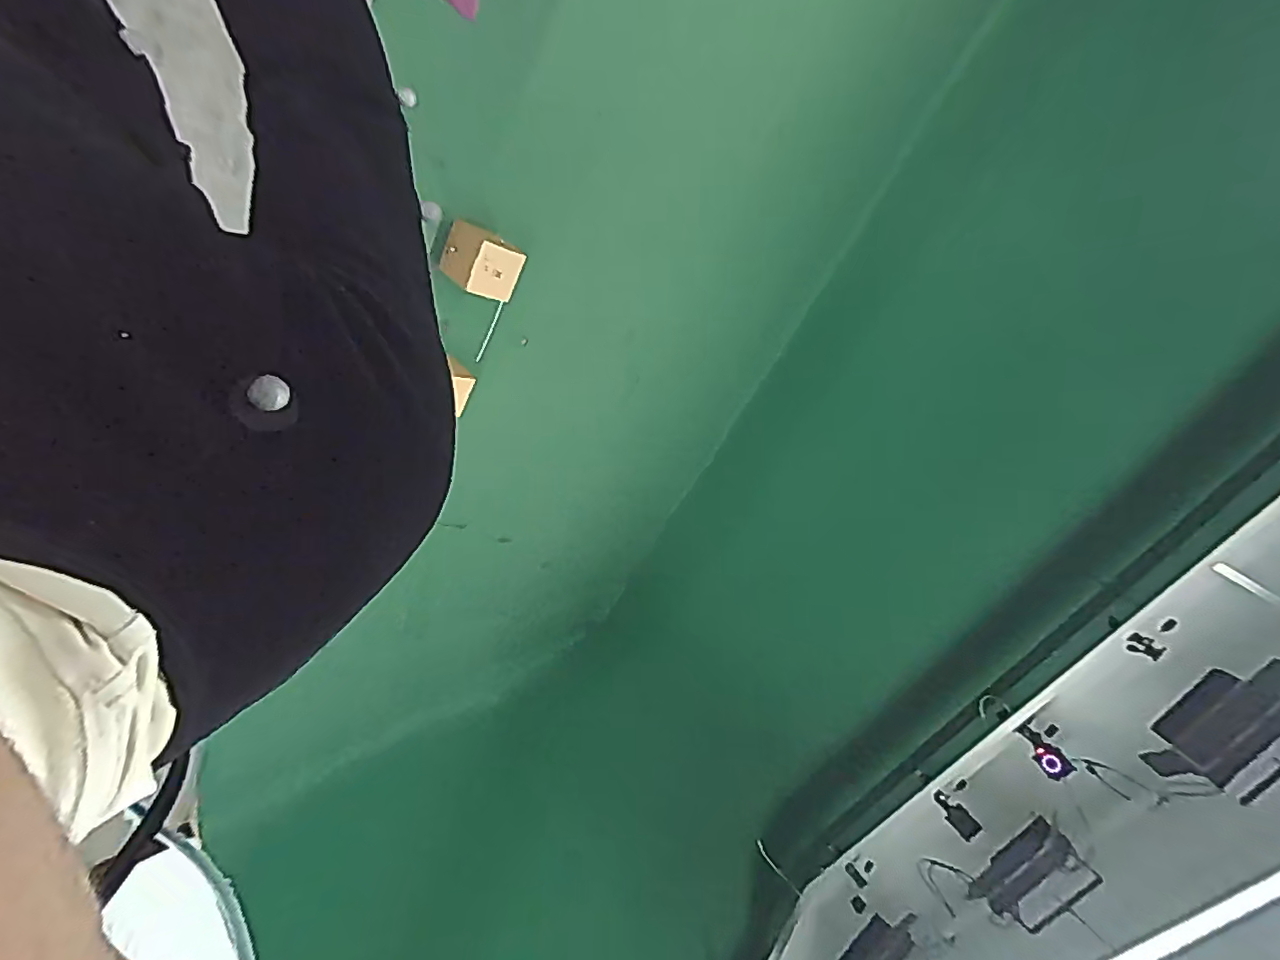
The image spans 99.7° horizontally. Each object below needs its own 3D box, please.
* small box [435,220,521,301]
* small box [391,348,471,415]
[{"bbox_3d":[-0.524,-0.708,1.742,0.179,0.176,0.168,-5,132,-55],"label":"small box"},{"bbox_3d":[-0.744,-0.349,1.920,0.179,0.176,0.168,-4,131,-55],"label":"small box"}]
